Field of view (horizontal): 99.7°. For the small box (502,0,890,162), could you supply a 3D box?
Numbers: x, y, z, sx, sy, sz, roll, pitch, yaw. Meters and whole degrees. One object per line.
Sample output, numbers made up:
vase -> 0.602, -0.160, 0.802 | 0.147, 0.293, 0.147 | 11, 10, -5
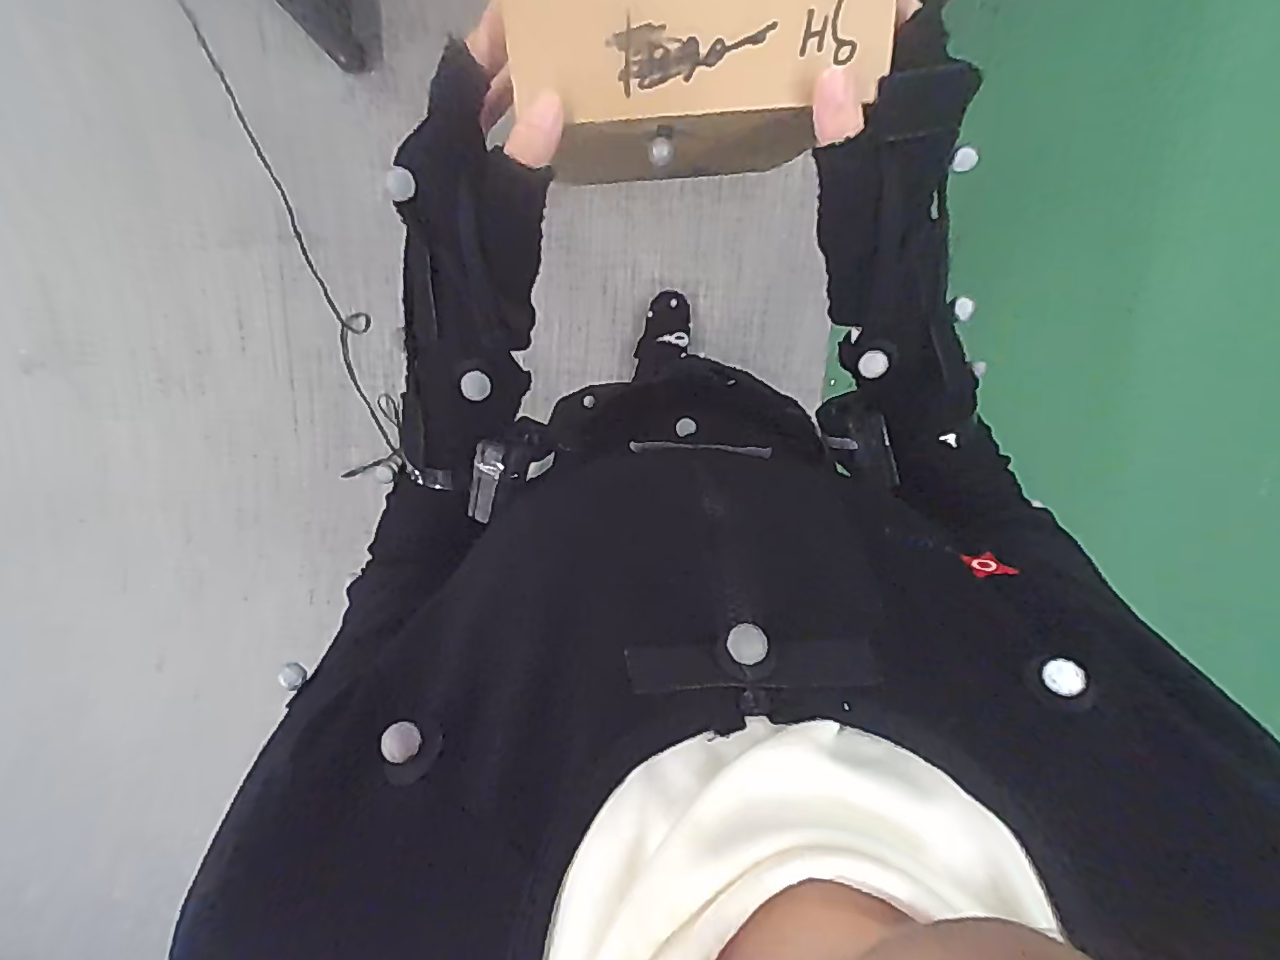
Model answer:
small box -> 0.015, -0.285, 0.279 | 0.168, 0.176, 0.179 | -5, 110, -1
